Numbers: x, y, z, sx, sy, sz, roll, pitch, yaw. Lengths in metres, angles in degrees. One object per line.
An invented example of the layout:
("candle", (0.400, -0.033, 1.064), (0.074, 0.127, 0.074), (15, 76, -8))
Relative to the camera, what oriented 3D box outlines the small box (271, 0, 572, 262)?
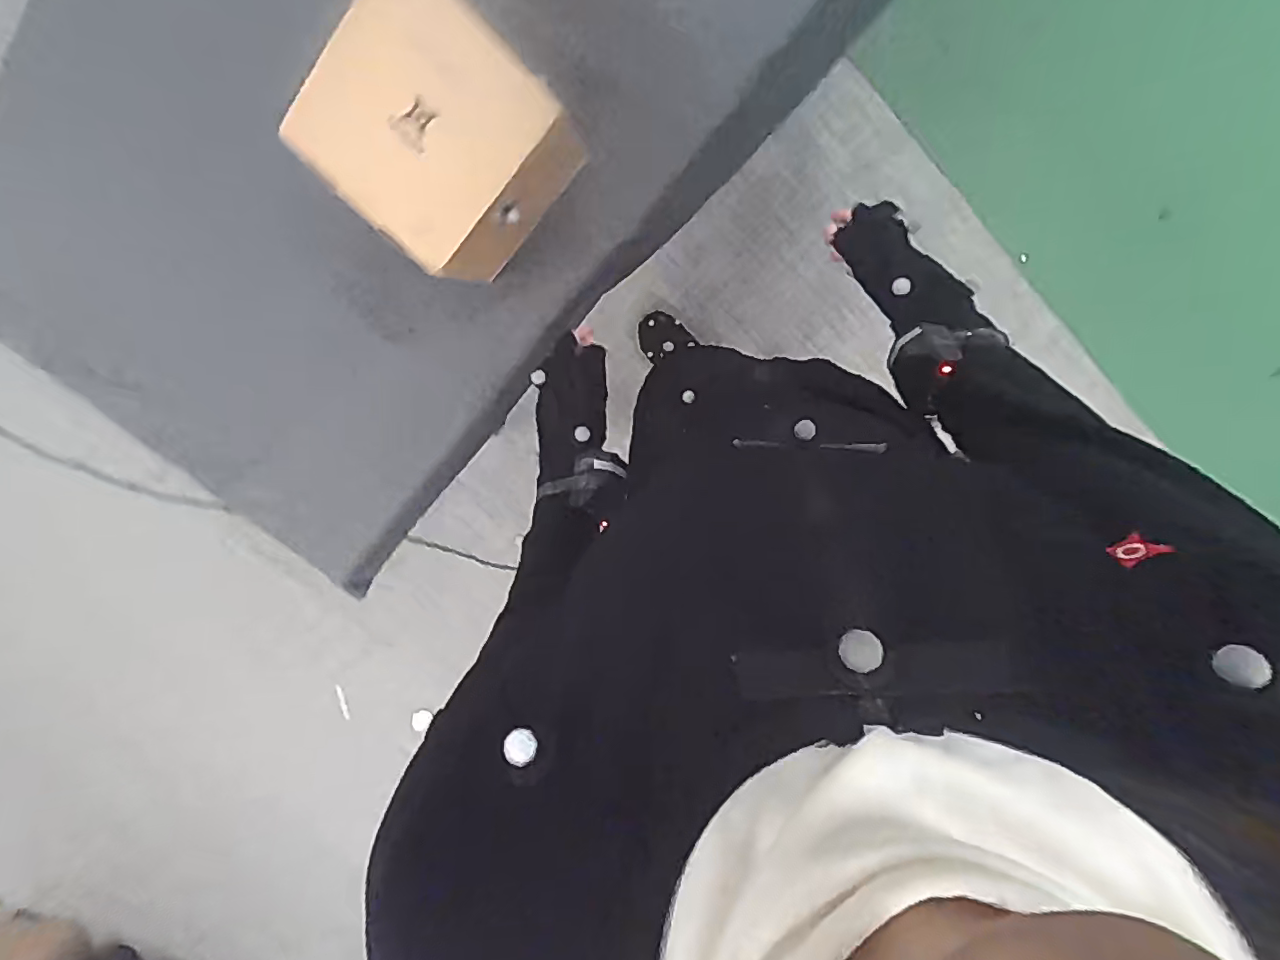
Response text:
("small box", (-0.181, -0.326, 0.506), (0.168, 0.176, 0.179), (41, 105, -13))
